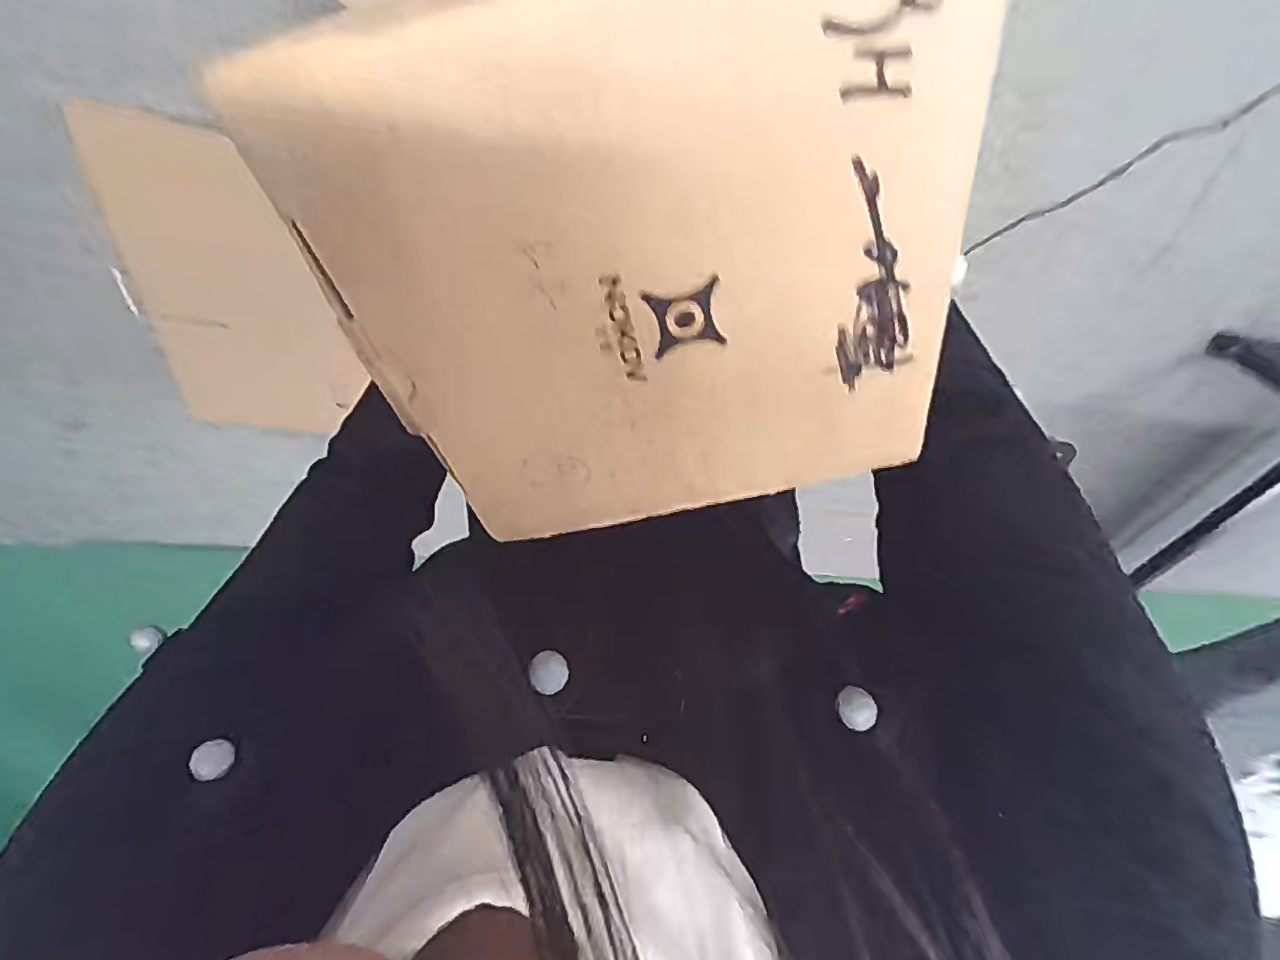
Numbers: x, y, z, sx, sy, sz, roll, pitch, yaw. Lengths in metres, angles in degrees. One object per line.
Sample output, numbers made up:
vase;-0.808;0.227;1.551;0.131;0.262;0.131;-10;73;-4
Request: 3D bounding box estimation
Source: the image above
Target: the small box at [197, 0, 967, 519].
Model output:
small box;-0.002;-0.113;0.221;0.179;0.176;0.168;-13;132;8
